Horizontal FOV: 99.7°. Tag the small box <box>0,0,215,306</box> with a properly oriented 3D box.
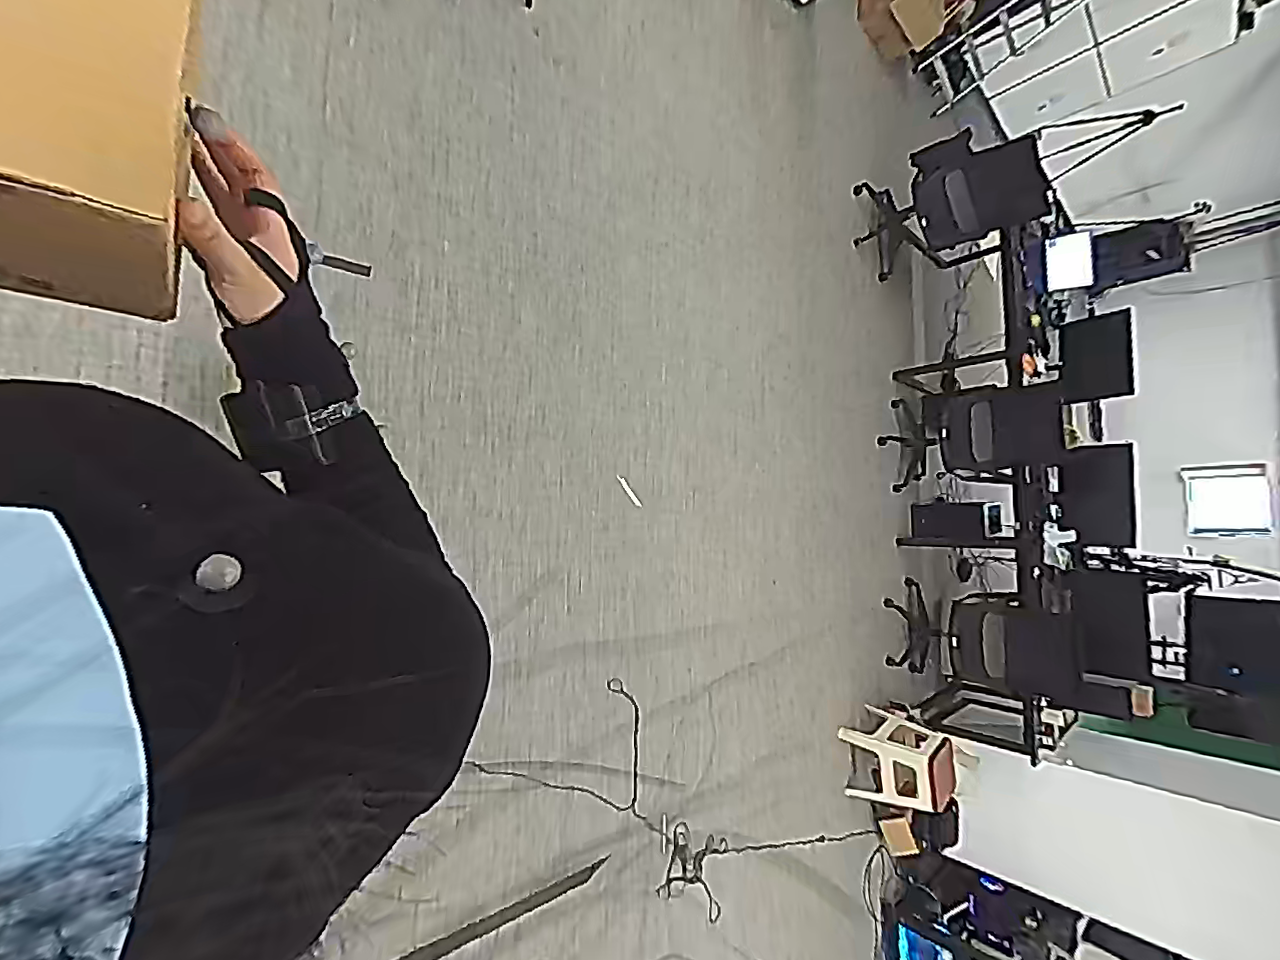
[{"bbox_3d":[-0.326,-0.212,0.270,0.168,0.176,0.179,6,85,-40],"label":"small box"}]

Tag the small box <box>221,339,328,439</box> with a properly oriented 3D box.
[{"bbox_3d":[-0.832,-0.195,1.227,0.168,0.176,0.179,11,80,-43],"label":"small box"}]
